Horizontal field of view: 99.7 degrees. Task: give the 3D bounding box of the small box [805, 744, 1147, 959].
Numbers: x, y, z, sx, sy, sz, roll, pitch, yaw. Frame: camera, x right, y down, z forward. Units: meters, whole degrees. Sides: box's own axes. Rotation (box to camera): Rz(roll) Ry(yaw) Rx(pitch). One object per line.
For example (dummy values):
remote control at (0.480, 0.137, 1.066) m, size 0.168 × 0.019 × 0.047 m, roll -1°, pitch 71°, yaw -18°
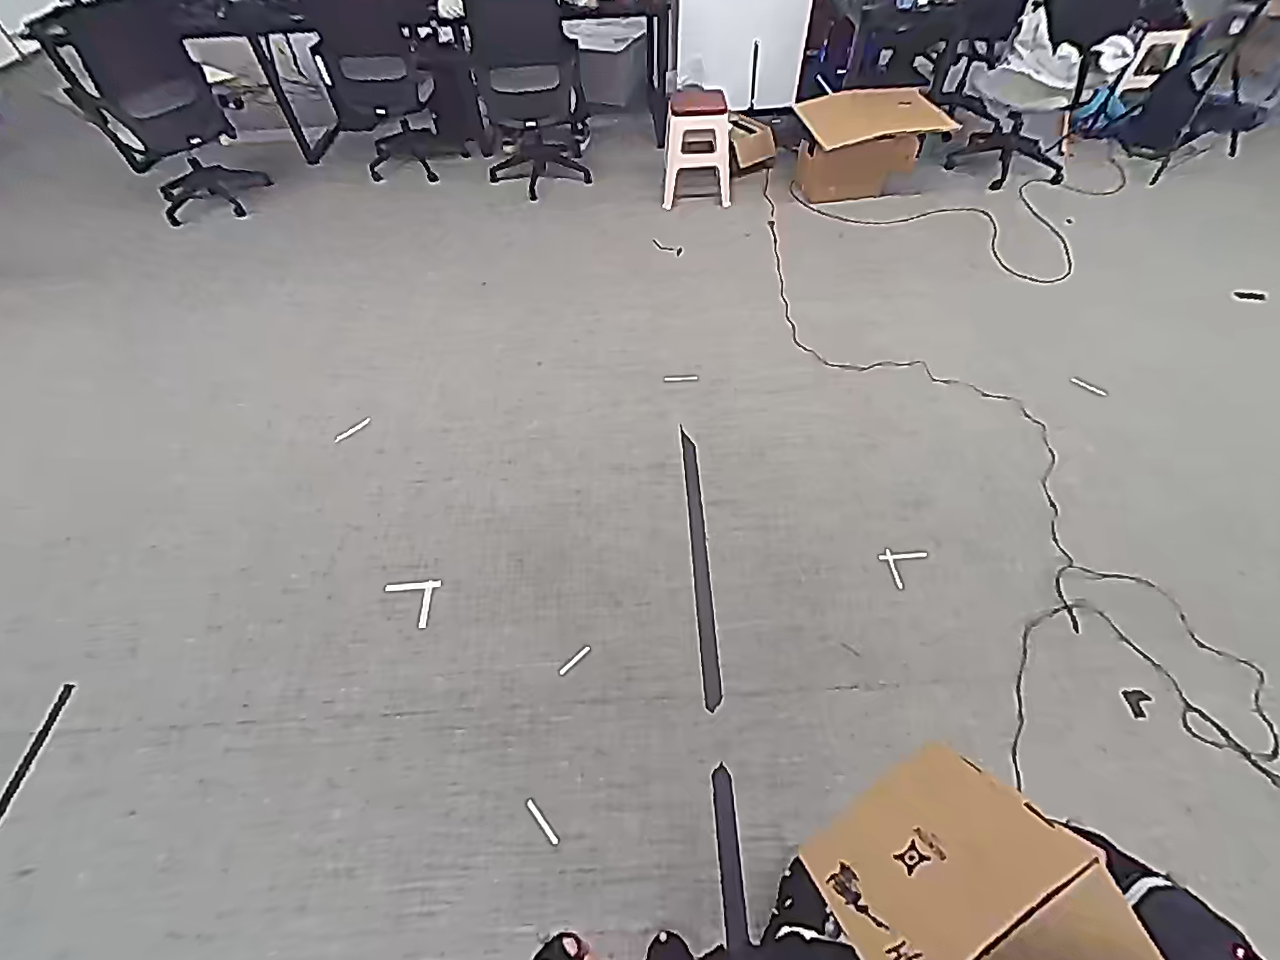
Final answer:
small box at (0.282, 0.378, 0.458) m, size 0.179 × 0.168 × 0.176 m, roll -34°, pitch 94°, yaw -5°
